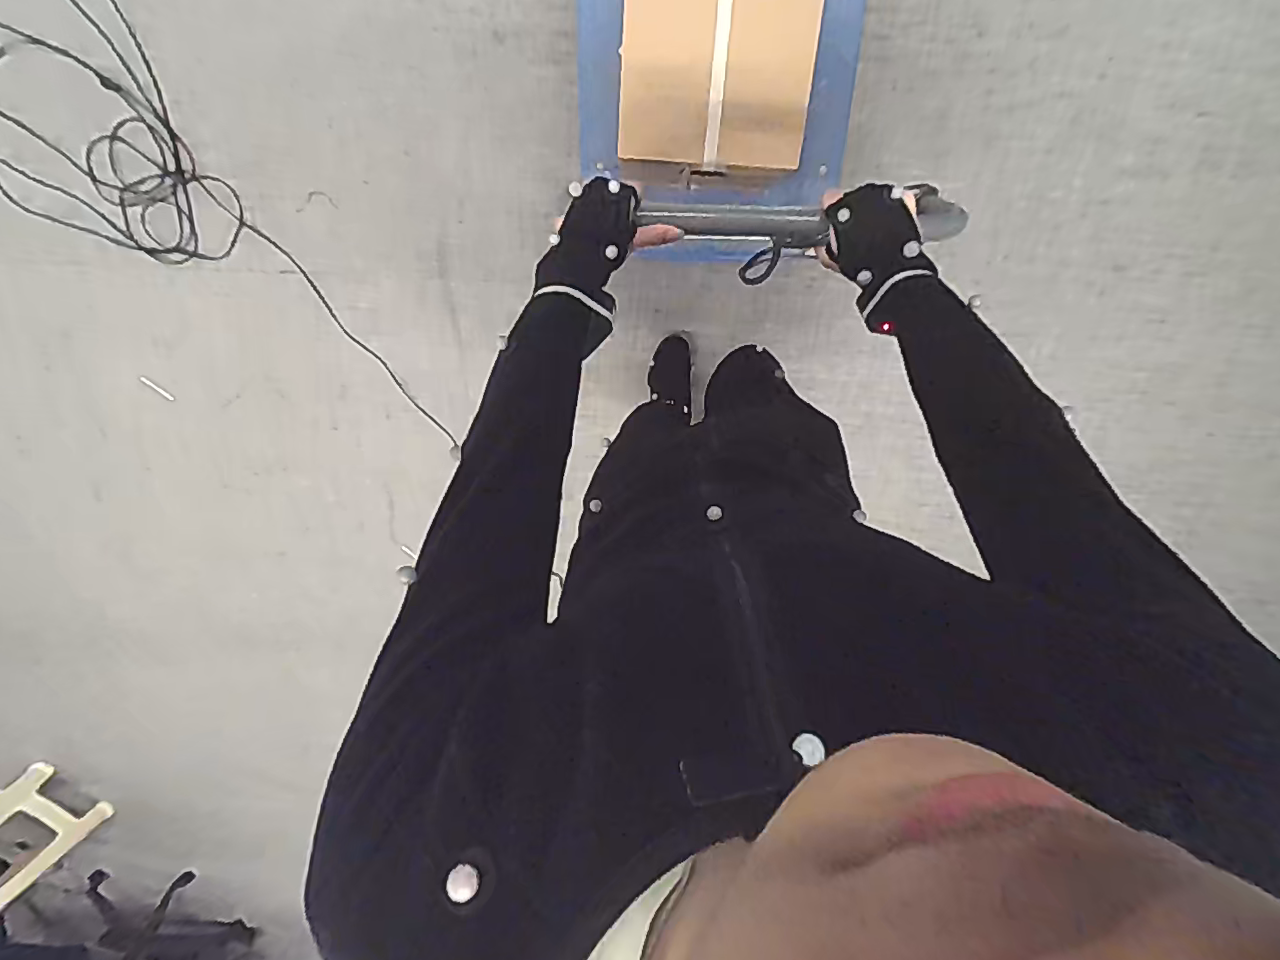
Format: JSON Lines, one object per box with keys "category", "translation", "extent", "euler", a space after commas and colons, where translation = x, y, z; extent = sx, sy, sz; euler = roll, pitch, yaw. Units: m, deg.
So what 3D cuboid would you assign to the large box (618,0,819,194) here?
{"category": "large box", "translation": [0.131, -0.776, 1.001], "extent": [0.320, 0.320, 0.408], "euler": [4, 111, 0]}
